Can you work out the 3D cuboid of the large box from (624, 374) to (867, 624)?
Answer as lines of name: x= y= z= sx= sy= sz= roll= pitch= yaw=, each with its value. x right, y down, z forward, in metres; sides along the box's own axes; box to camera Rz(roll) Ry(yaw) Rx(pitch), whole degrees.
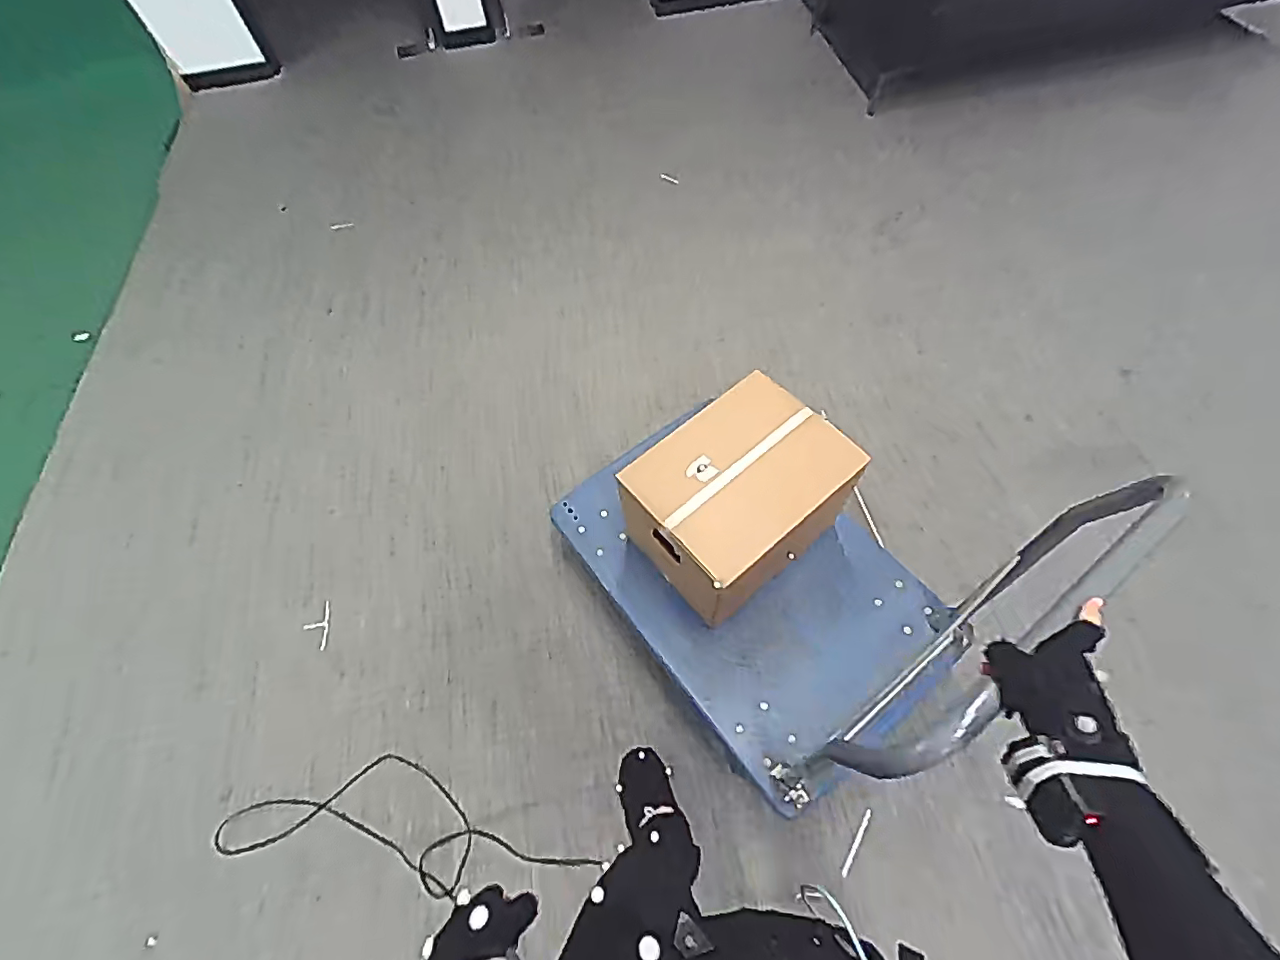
large box: x=0.221 y=0.049 z=1.212 sx=0.408 sy=0.320 sz=0.320 roll=-38 pitch=65 yaw=-15
